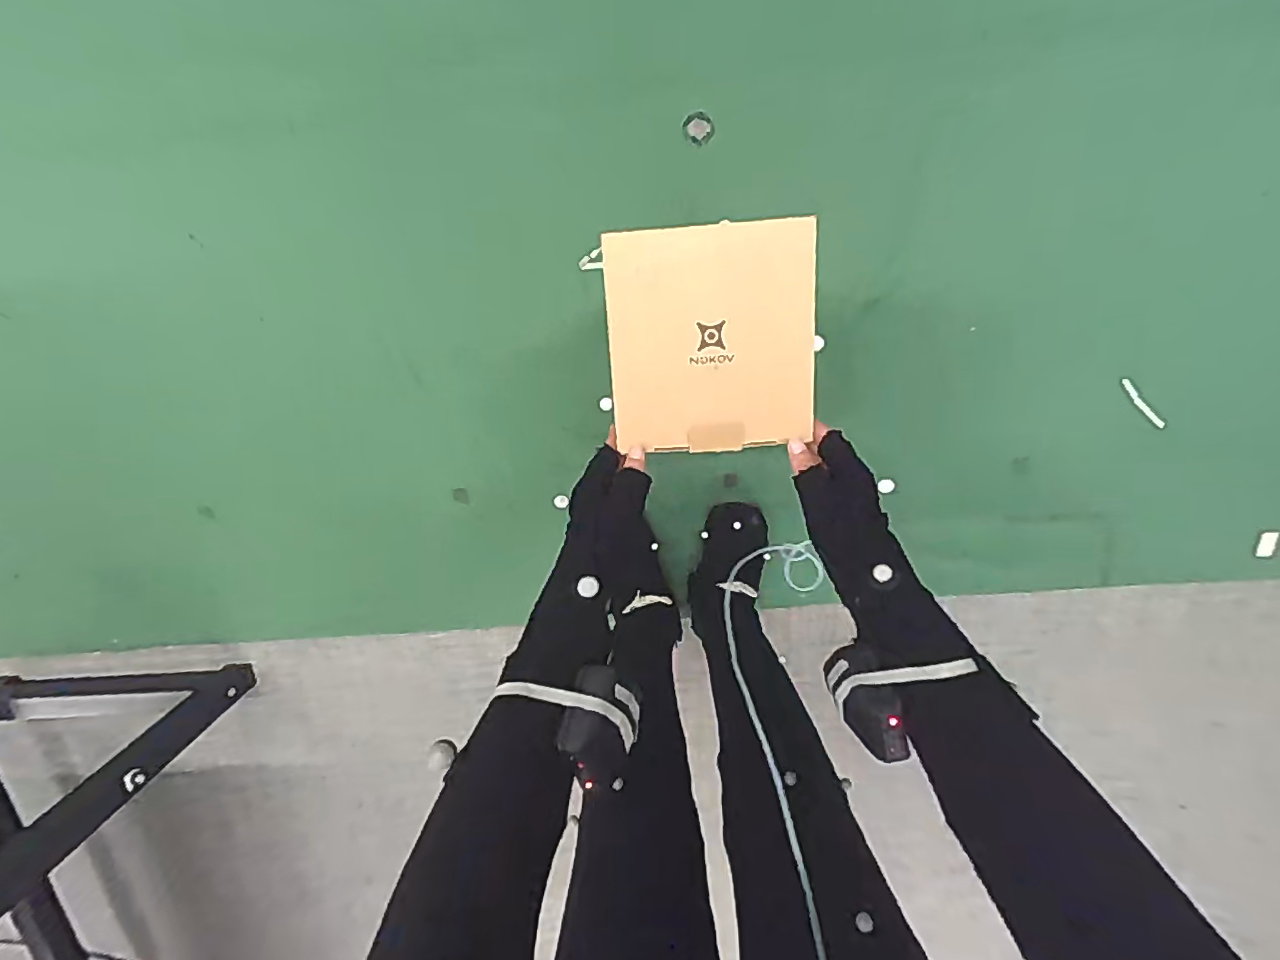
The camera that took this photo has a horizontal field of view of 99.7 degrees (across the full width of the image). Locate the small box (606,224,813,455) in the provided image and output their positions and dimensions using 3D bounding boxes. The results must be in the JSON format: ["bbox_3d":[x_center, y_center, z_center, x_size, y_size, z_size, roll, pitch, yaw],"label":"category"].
[{"bbox_3d":[0.060,-0.128,0.517,0.168,0.176,0.179,-3,104,3],"label":"small box"}]
